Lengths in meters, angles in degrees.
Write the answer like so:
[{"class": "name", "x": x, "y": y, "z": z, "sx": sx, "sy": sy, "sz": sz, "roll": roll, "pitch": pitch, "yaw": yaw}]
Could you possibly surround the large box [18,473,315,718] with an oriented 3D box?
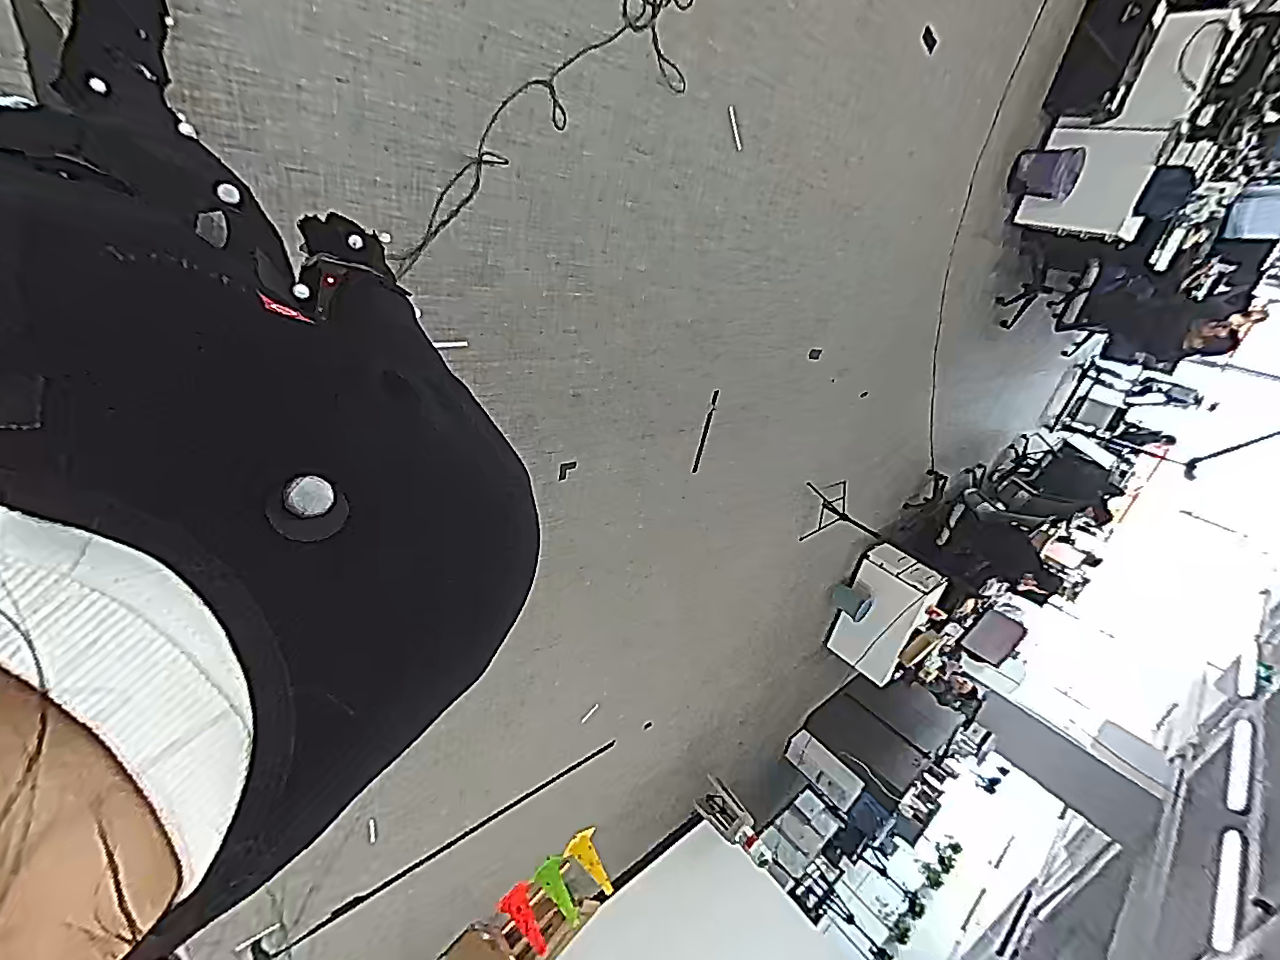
[{"class": "large box", "x": -0.996, "y": 0.220, "z": 1.187, "sx": 0.408, "sy": 0.320, "sz": 0.320, "roll": -16, "pitch": 126, "yaw": -36}]
